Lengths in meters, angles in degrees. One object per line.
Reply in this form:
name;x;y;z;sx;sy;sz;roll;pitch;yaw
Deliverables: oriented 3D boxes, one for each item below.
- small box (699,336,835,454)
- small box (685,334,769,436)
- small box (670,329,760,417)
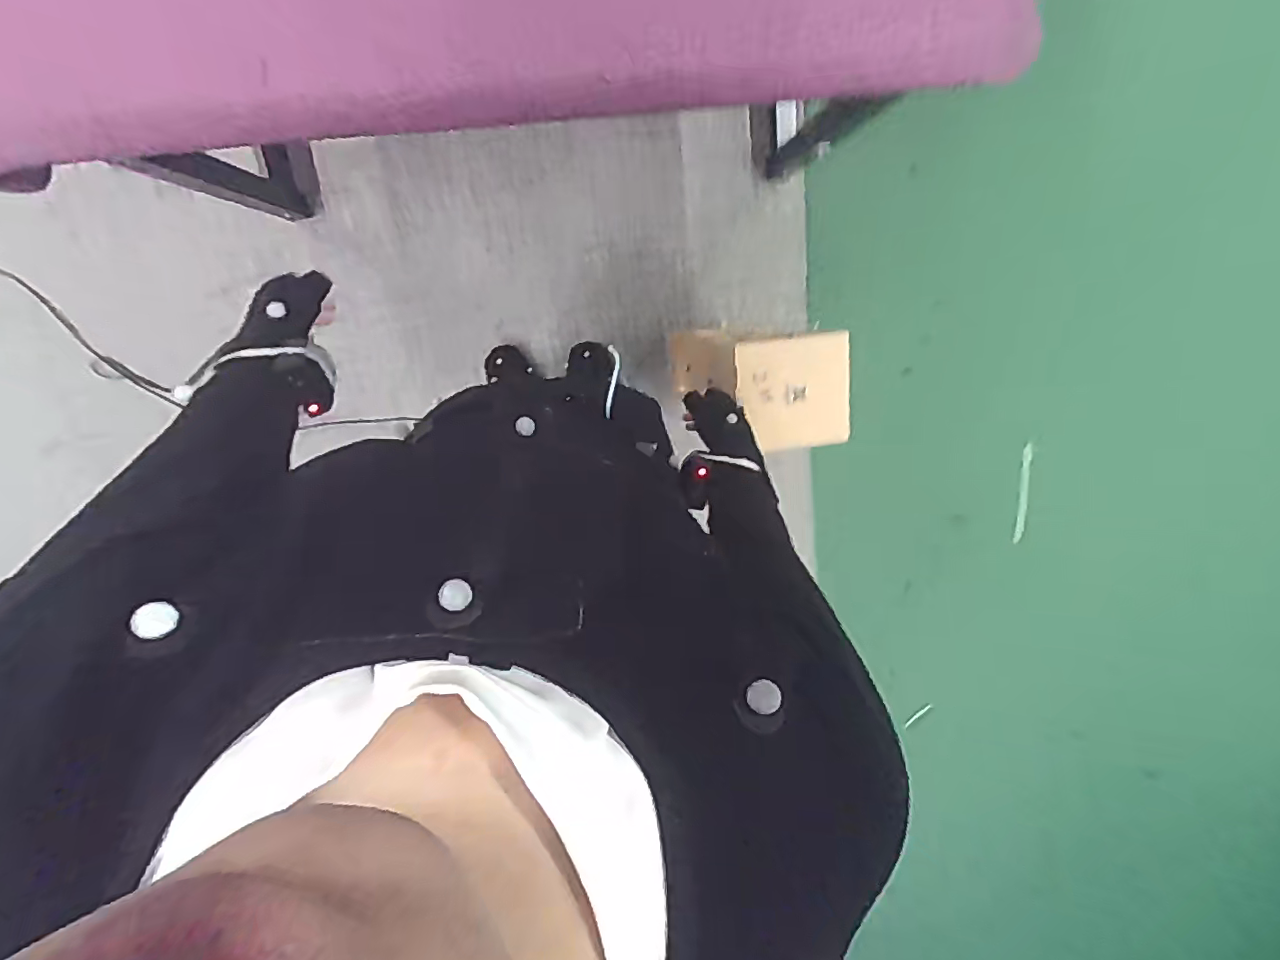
small box;0.204;-0.149;0.903;0.179;0.176;0.168;-6;106;-5
small box;0.185;-0.191;1.061;0.168;0.176;0.179;-4;107;-6
small box;0.162;-0.245;1.213;0.168;0.176;0.179;-3;106;-6
